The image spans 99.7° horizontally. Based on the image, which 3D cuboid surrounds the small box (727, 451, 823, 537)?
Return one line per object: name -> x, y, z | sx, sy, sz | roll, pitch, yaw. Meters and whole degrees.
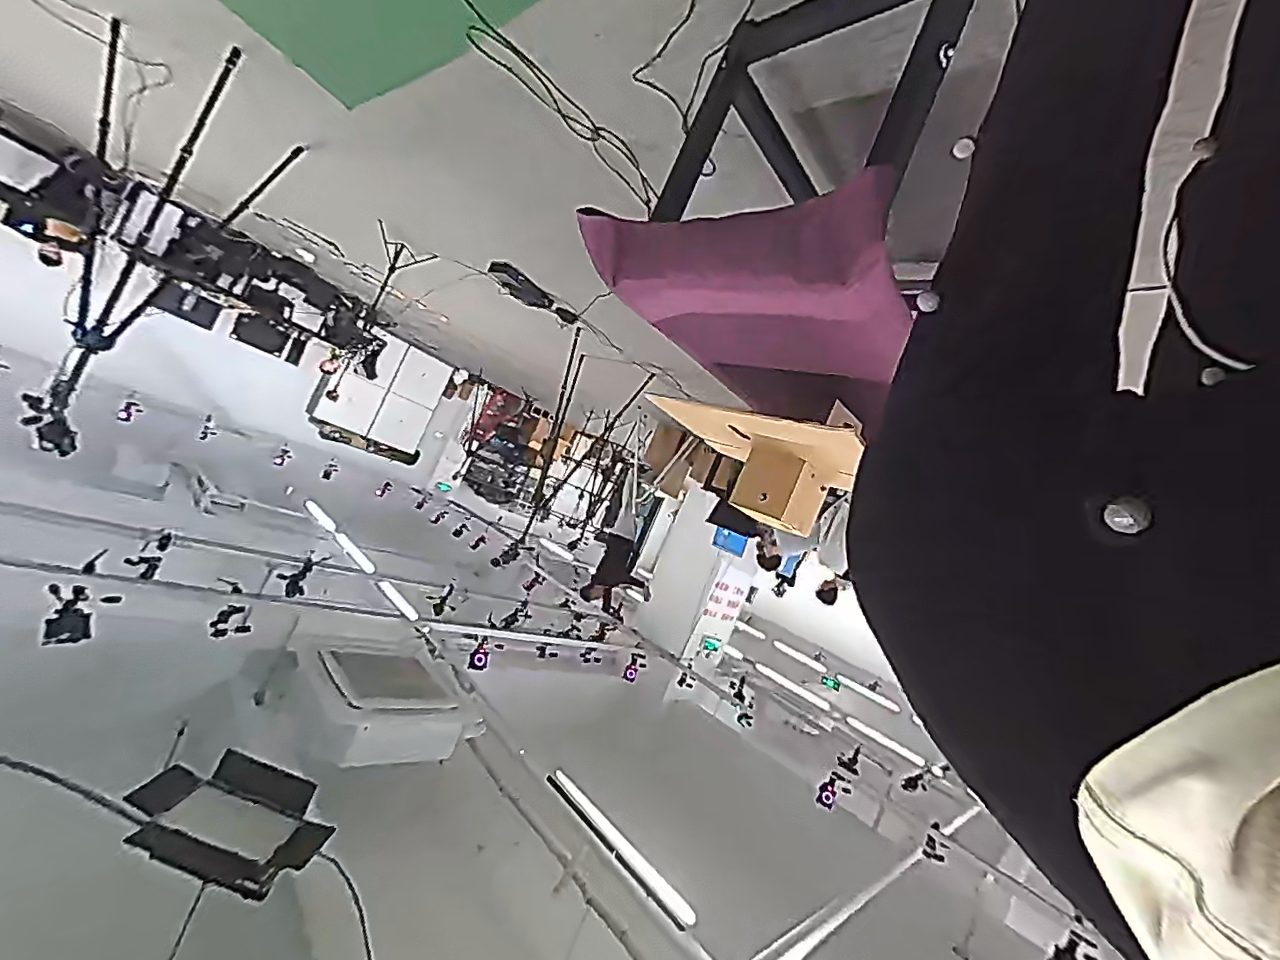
small box -> 0.375, 0.035, 1.472 | 0.179, 0.176, 0.168 | 20, 174, 46
